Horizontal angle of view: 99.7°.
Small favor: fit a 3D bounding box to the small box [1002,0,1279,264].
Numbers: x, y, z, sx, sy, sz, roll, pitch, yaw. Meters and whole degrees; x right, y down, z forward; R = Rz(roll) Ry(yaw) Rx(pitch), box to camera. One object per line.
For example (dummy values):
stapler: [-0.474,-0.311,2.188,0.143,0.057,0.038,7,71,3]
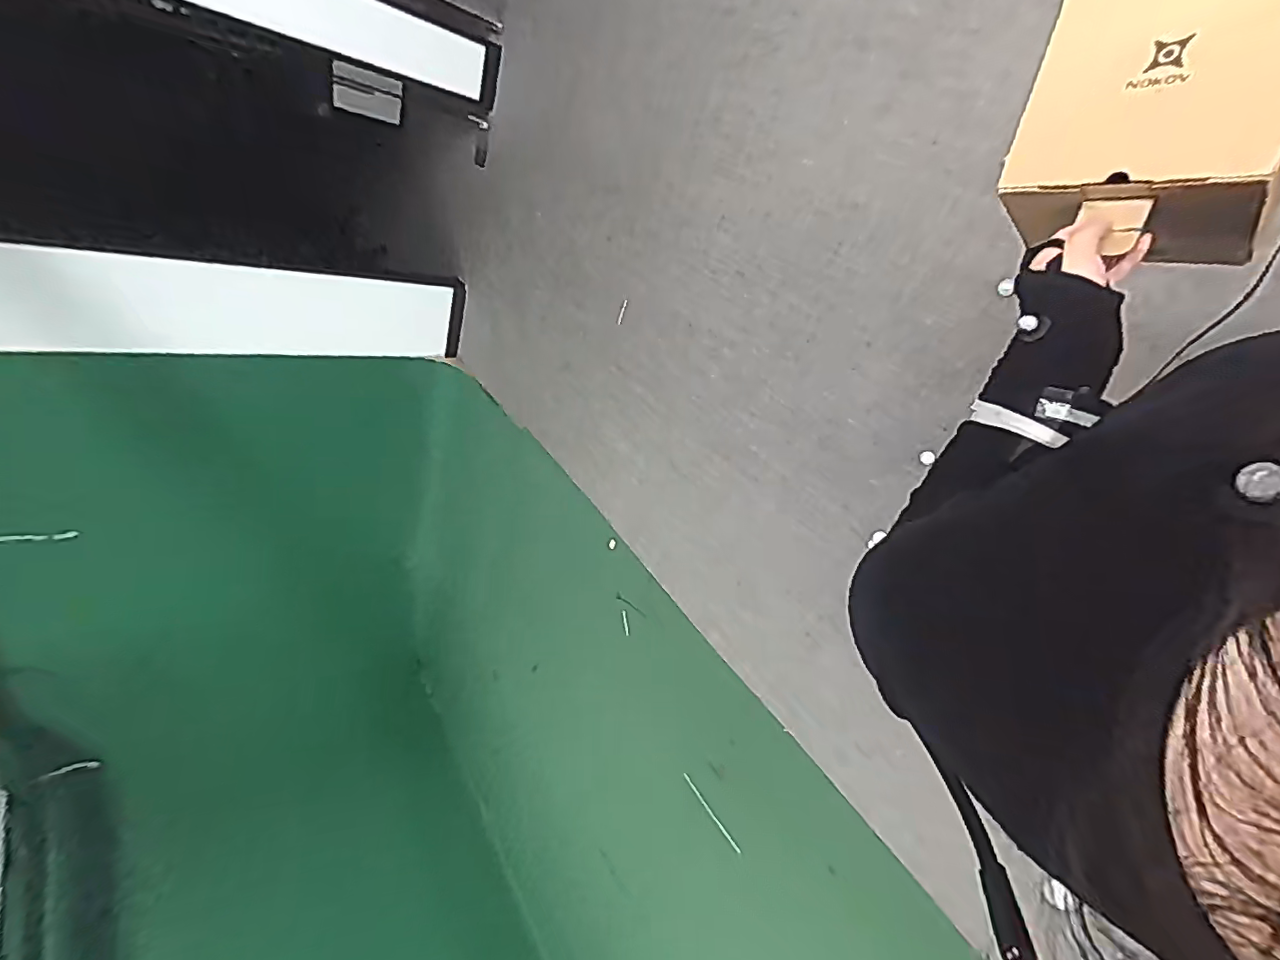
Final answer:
small box: [0.441,-0.302,0.454,0.168,0.176,0.179,25,105,43]
